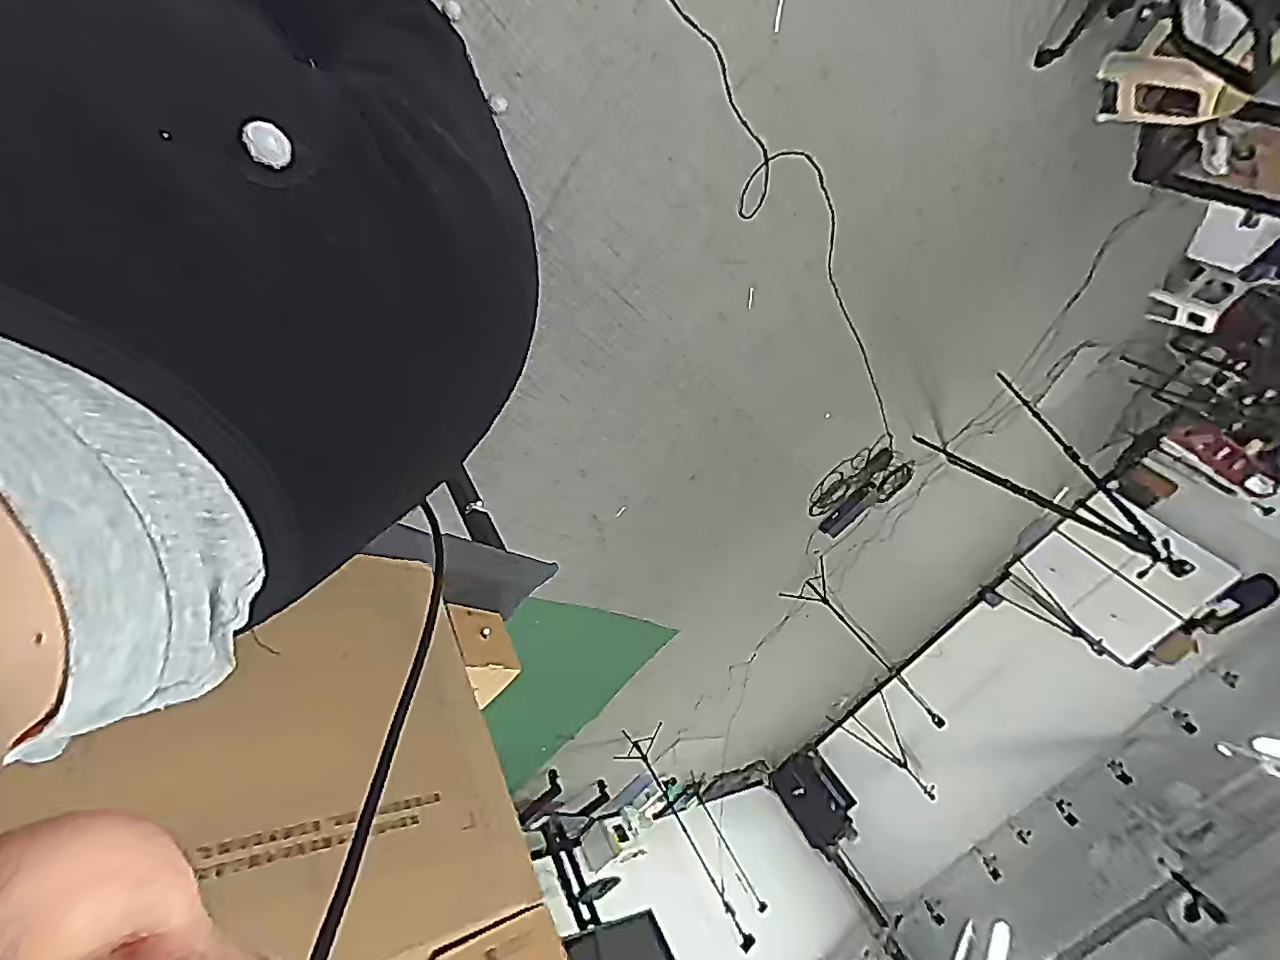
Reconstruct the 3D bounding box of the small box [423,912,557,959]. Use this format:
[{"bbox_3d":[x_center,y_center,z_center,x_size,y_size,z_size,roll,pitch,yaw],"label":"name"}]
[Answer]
[{"bbox_3d":[-0.195,0.653,0.635,0.168,0.176,0.179,21,115,-48],"label":"small box"}]
